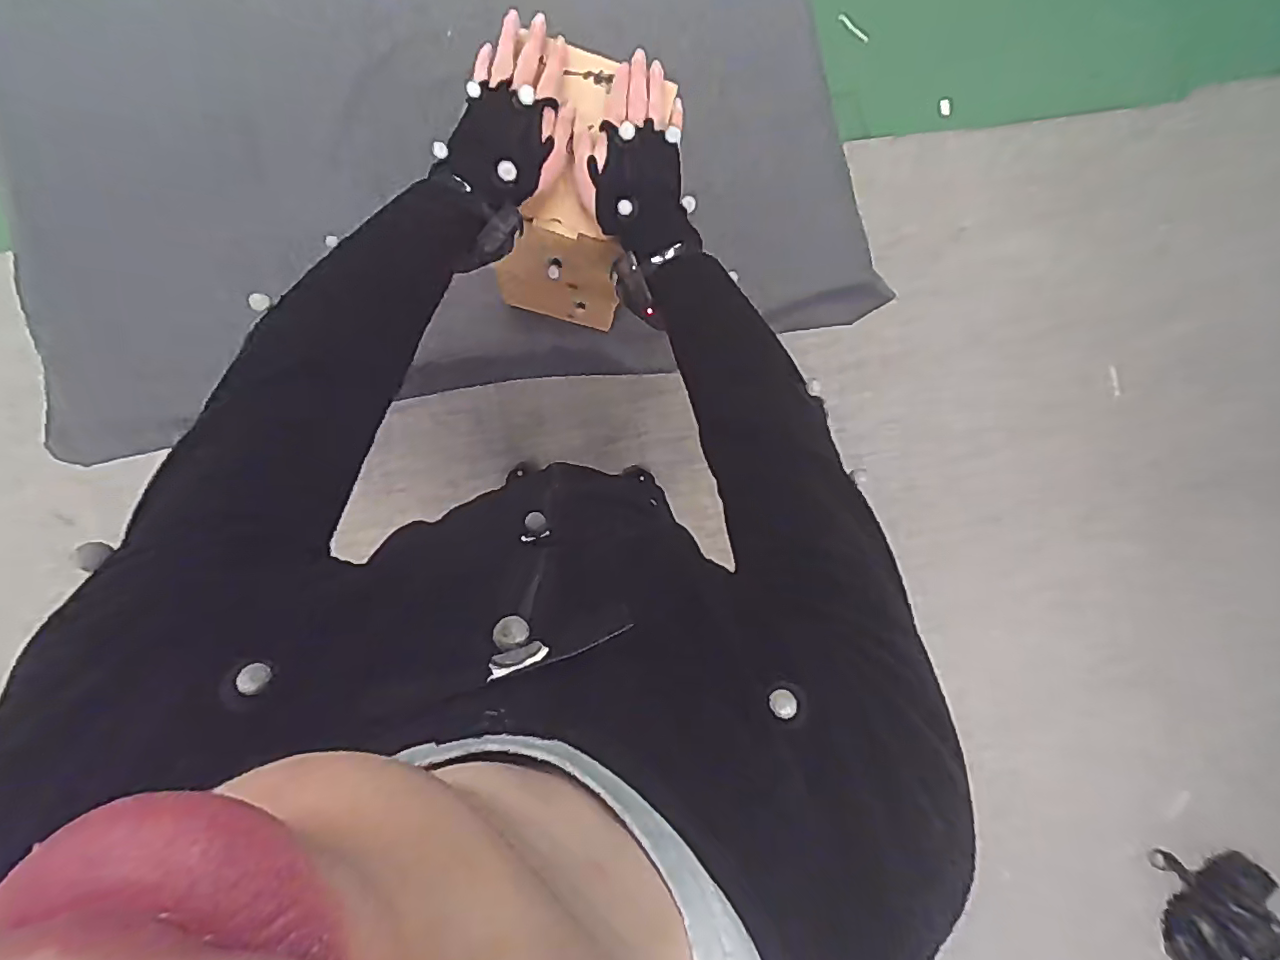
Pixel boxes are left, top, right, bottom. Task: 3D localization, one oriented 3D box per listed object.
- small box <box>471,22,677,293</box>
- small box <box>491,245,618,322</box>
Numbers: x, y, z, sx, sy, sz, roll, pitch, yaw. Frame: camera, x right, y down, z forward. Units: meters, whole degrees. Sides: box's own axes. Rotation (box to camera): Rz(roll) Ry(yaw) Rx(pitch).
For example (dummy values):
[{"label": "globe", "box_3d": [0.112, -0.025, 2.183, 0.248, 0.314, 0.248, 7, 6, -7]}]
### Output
[{"label": "small box", "box_3d": [-0.072, -0.329, 0.596, 0.168, 0.176, 0.179, 14, 90, -9]}, {"label": "small box", "box_3d": [-0.097, -0.341, 0.757, 0.168, 0.176, 0.179, 14, 87, -8]}]
